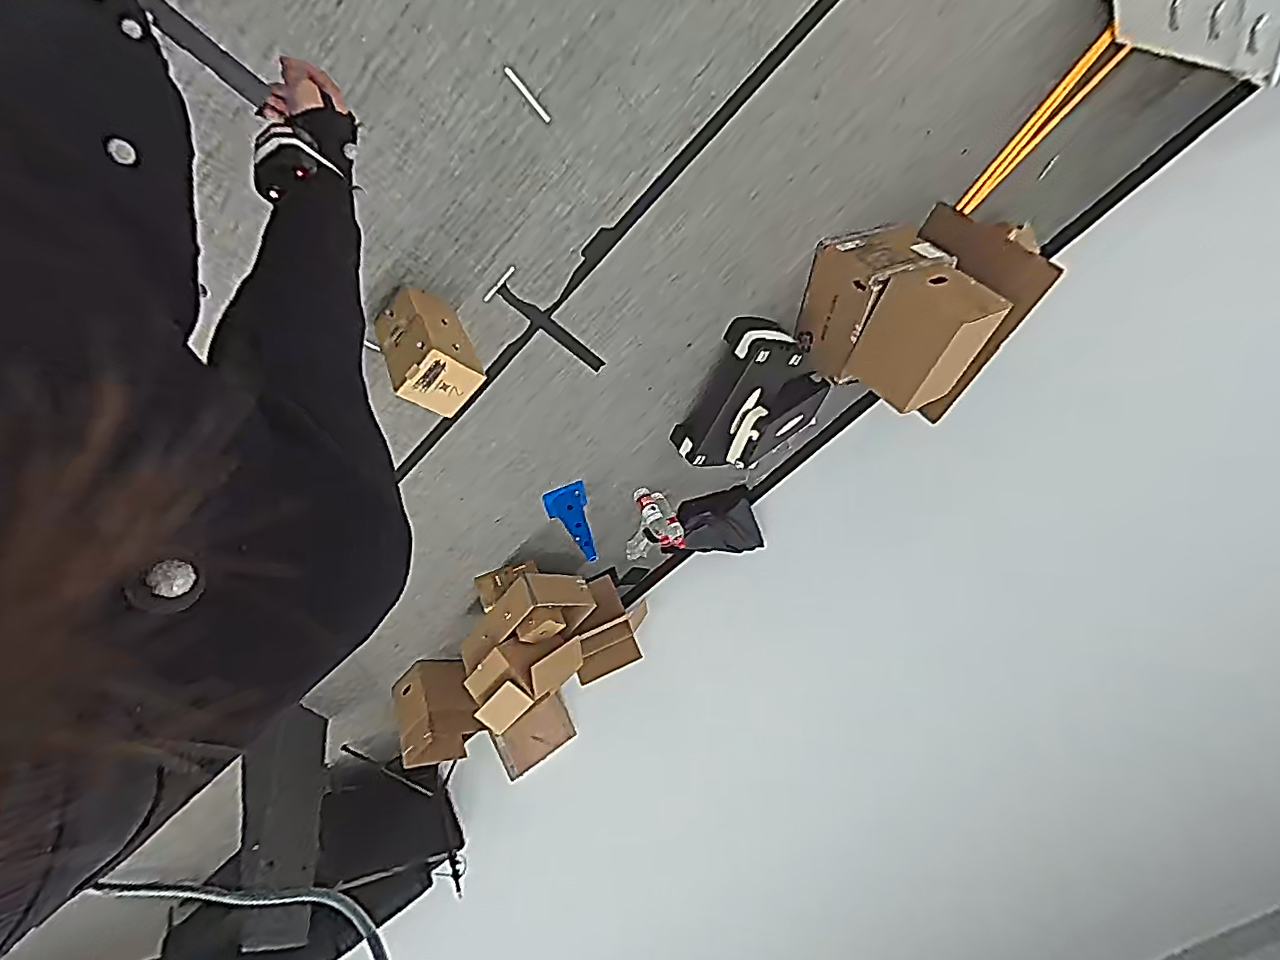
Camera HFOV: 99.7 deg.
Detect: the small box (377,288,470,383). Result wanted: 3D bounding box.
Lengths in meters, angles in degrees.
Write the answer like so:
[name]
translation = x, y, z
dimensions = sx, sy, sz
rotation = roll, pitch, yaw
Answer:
[small box]
translation = -0.628, -0.418, 1.561
dimensions = 0.168, 0.176, 0.179
rotation = -44, 143, 18
